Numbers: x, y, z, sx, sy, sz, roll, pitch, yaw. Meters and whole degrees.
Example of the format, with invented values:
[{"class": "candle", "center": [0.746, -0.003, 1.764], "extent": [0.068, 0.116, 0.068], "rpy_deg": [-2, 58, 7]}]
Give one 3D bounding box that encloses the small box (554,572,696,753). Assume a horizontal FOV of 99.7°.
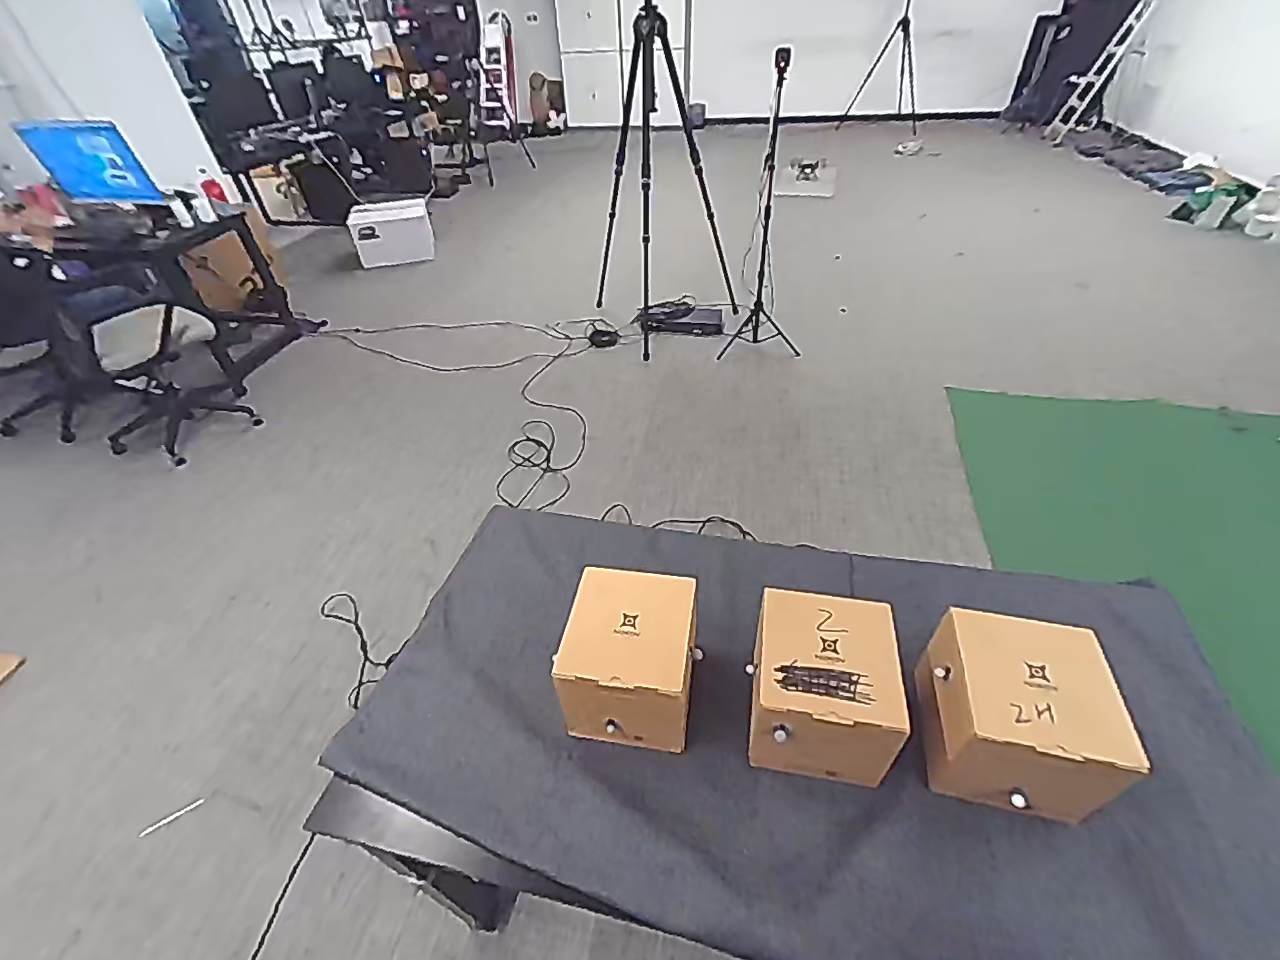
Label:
[{"class": "small box", "center": [-0.012, 0.260, 0.779], "extent": [0.168, 0.176, 0.179], "rpy_deg": [5, 42, 9]}]
